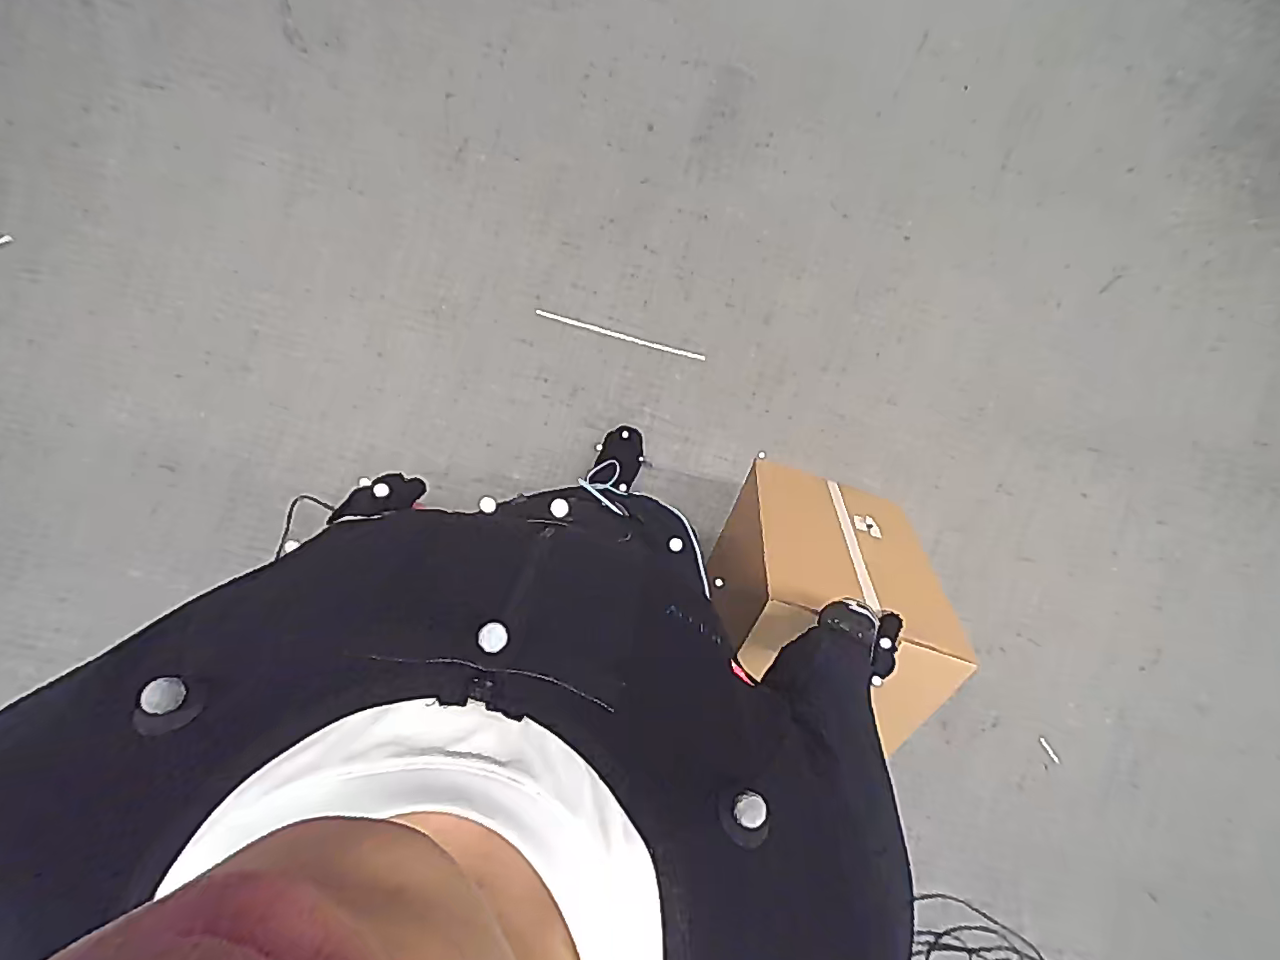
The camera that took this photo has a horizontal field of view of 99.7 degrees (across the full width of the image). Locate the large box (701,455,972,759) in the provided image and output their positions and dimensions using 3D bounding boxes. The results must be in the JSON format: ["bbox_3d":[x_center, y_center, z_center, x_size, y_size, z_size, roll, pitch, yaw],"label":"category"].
[{"bbox_3d":[0.310,0.218,1.000,0.320,0.408,0.320,19,122,-3],"label":"large box"}]
